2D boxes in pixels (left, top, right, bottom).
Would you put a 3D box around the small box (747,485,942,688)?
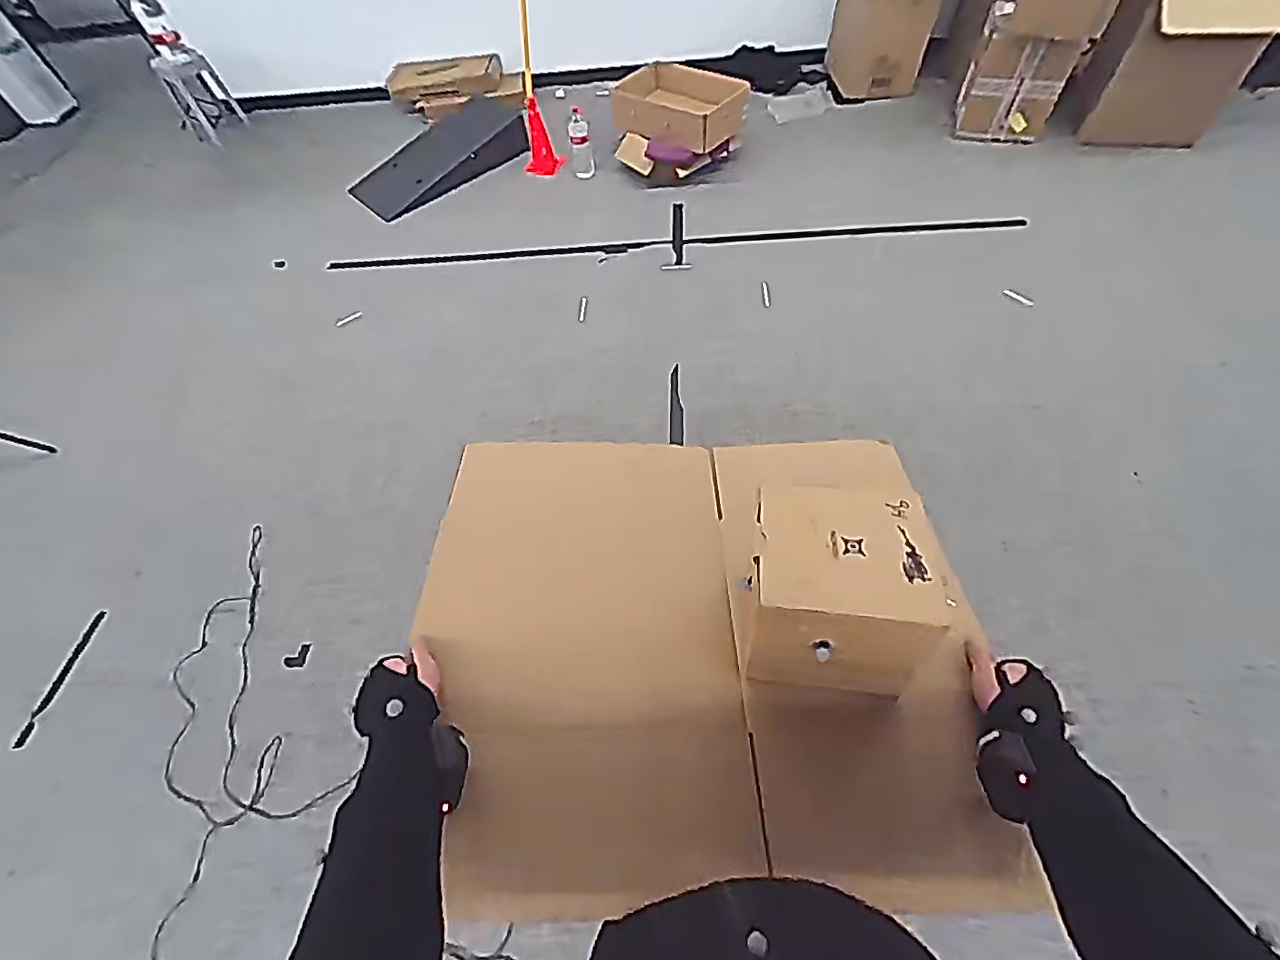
[{"bbox_3d":[0.217,0.124,0.626,0.179,0.176,0.168,3,48,10],"label":"small box"}]
